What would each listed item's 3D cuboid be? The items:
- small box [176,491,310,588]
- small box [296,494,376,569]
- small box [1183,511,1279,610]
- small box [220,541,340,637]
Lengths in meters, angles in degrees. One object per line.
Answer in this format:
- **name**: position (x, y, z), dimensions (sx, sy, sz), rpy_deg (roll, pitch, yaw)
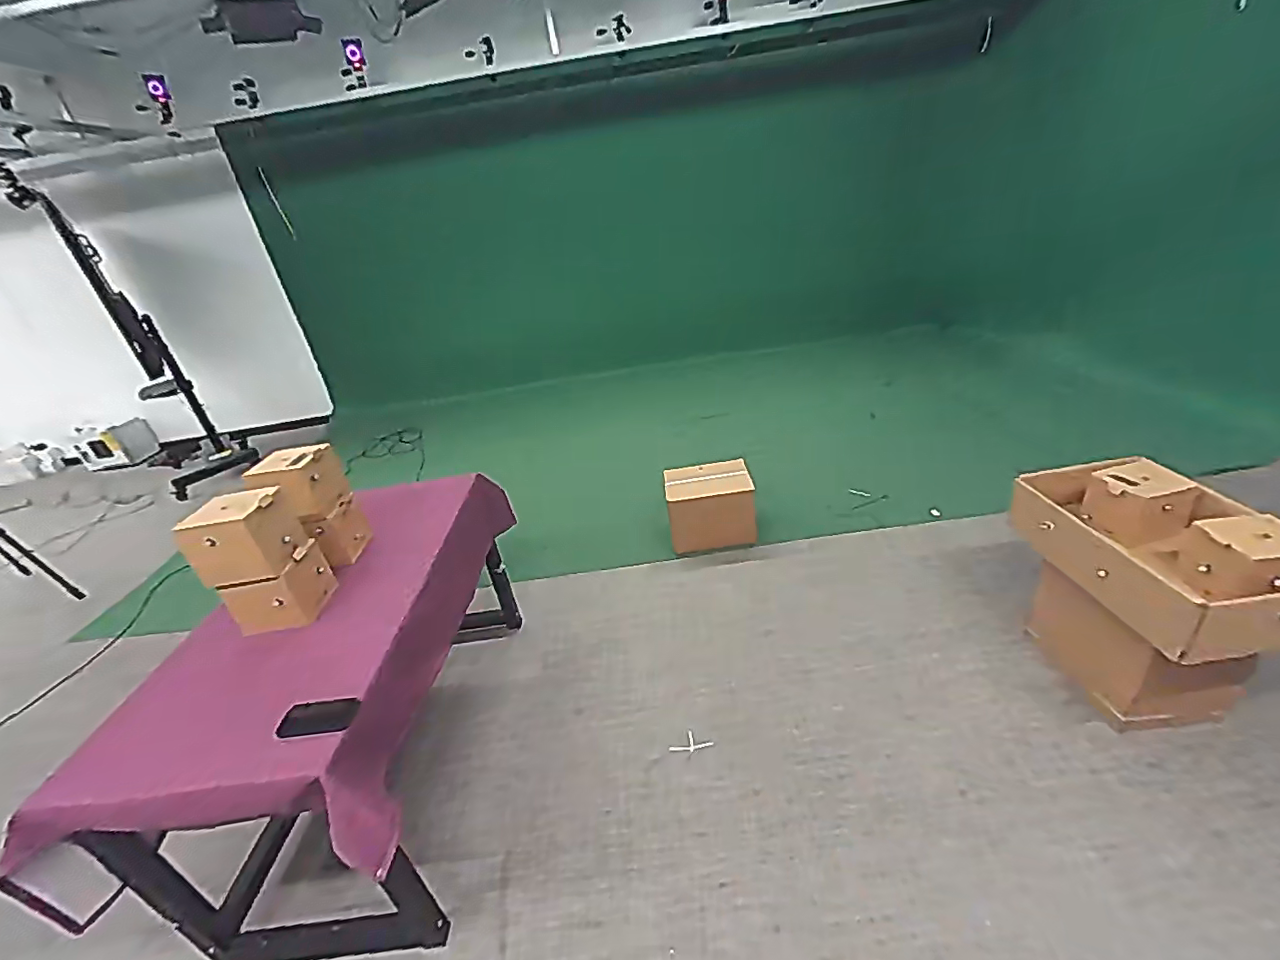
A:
- **small box**: position (-0.969, 0.149, 1.339), dimensions (0.179, 0.176, 0.168), rpy_deg (-10, 27, 2)
- **small box**: position (-0.951, 0.166, 1.658), dimensions (0.179, 0.176, 0.168), rpy_deg (-9, 28, 2)
- **small box**: position (1.477, 0.197, 1.306), dimensions (0.179, 0.176, 0.168), rpy_deg (-7, 28, 9)
- **small box**: position (-0.933, 0.287, 1.423), dimensions (0.179, 0.176, 0.168), rpy_deg (-10, 27, 3)
